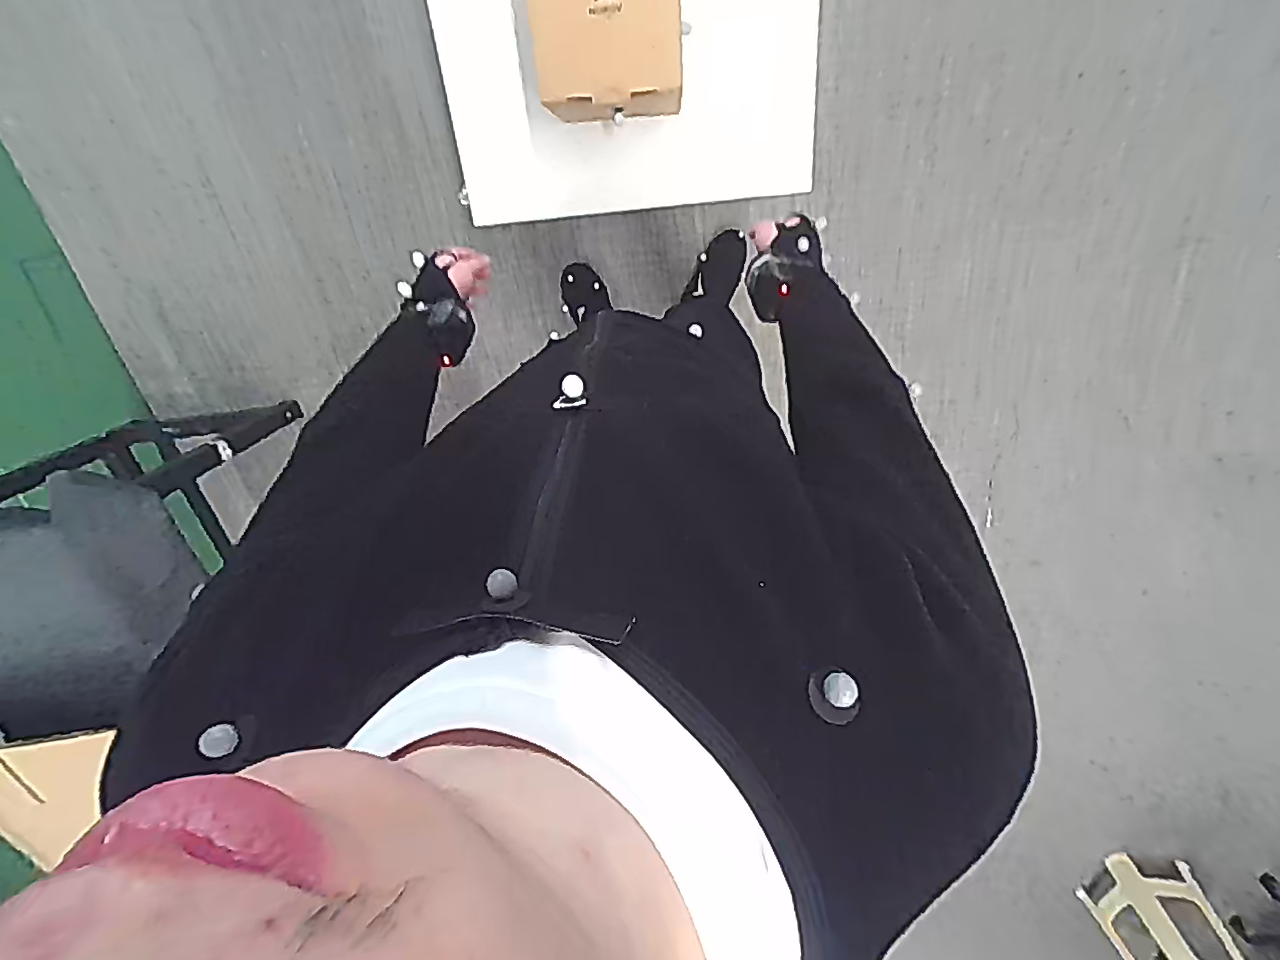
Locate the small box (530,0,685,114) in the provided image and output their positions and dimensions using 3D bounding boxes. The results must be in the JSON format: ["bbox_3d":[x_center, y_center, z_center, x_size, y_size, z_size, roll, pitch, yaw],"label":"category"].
[{"bbox_3d":[-0.032,-0.553,0.645,0.168,0.176,0.179,-4,116,5],"label":"small box"}]
